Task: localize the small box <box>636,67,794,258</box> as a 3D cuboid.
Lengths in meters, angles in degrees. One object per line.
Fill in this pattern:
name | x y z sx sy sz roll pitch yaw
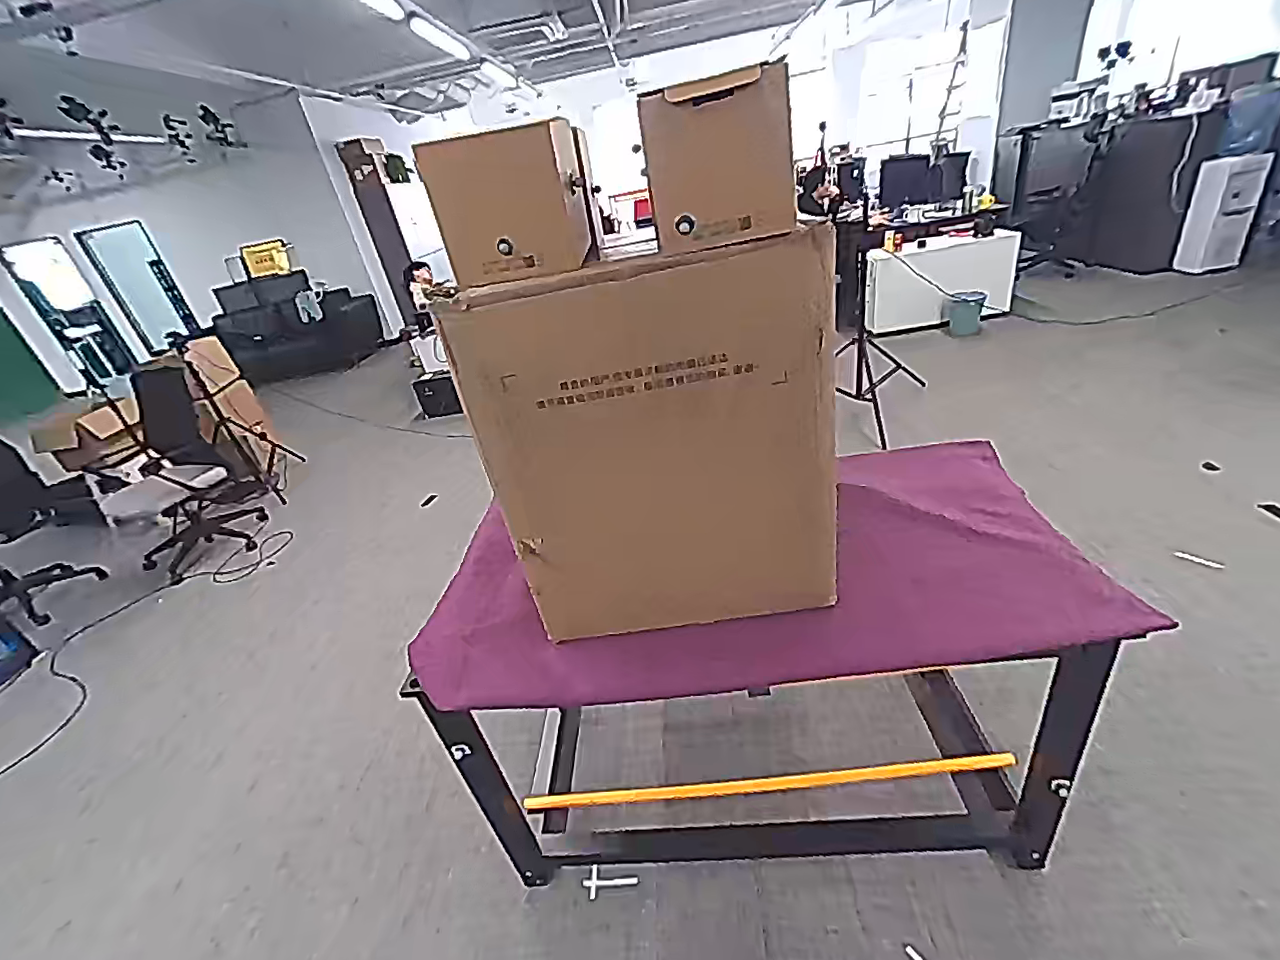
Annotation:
small box | 0.093 -0.391 0.684 0.168 0.176 0.179 -9 31 7
